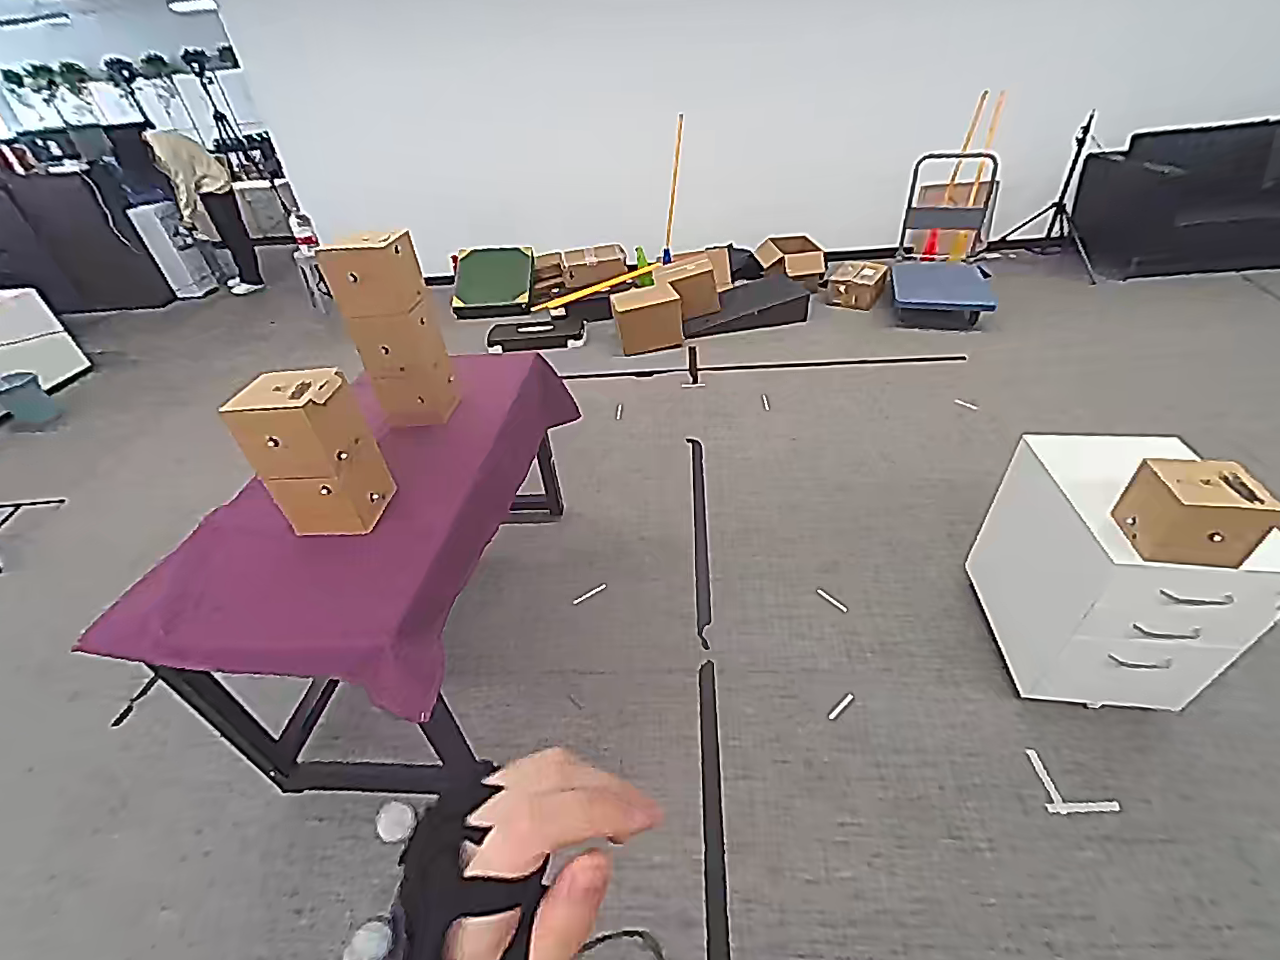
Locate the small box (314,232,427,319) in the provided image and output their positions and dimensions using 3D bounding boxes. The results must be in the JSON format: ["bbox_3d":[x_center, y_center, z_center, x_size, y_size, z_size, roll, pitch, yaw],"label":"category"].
[{"bbox_3d":[-0.683,-0.523,1.392,0.179,0.176,0.168,-2,38,5],"label":"small box"}]

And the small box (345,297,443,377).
[{"bbox_3d":[-0.665,-0.392,1.489,0.168,0.176,0.179,-2,38,4],"label":"small box"}]

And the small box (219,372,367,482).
[{"bbox_3d":[-0.714,-0.111,1.141,0.179,0.176,0.168,-3,38,3],"label":"small box"}]

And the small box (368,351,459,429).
[{"bbox_3d":[-0.655,-0.263,1.591,0.179,0.176,0.168,-2,38,5],"label":"small box"}]

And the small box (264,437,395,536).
[{"bbox_3d":[-0.701,0.017,1.243,0.179,0.176,0.168,-2,38,4],"label":"small box"}]
